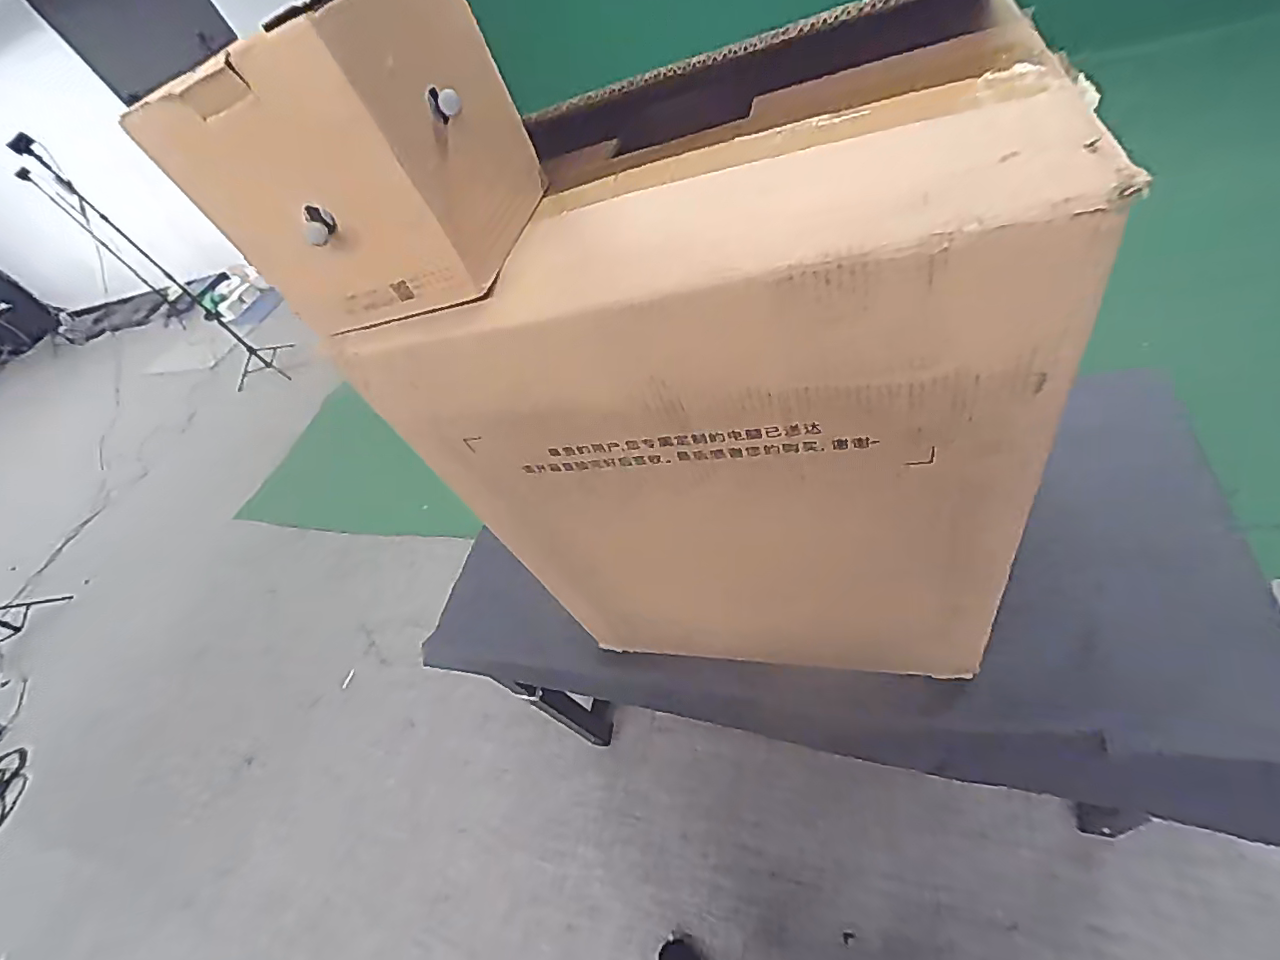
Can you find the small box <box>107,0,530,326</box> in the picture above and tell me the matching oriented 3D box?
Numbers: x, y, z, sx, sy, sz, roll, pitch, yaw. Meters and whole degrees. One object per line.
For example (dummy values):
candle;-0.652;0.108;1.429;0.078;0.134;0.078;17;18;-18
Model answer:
small box;-0.205;-0.234;0.399;0.168;0.176;0.179;-5;51;22
